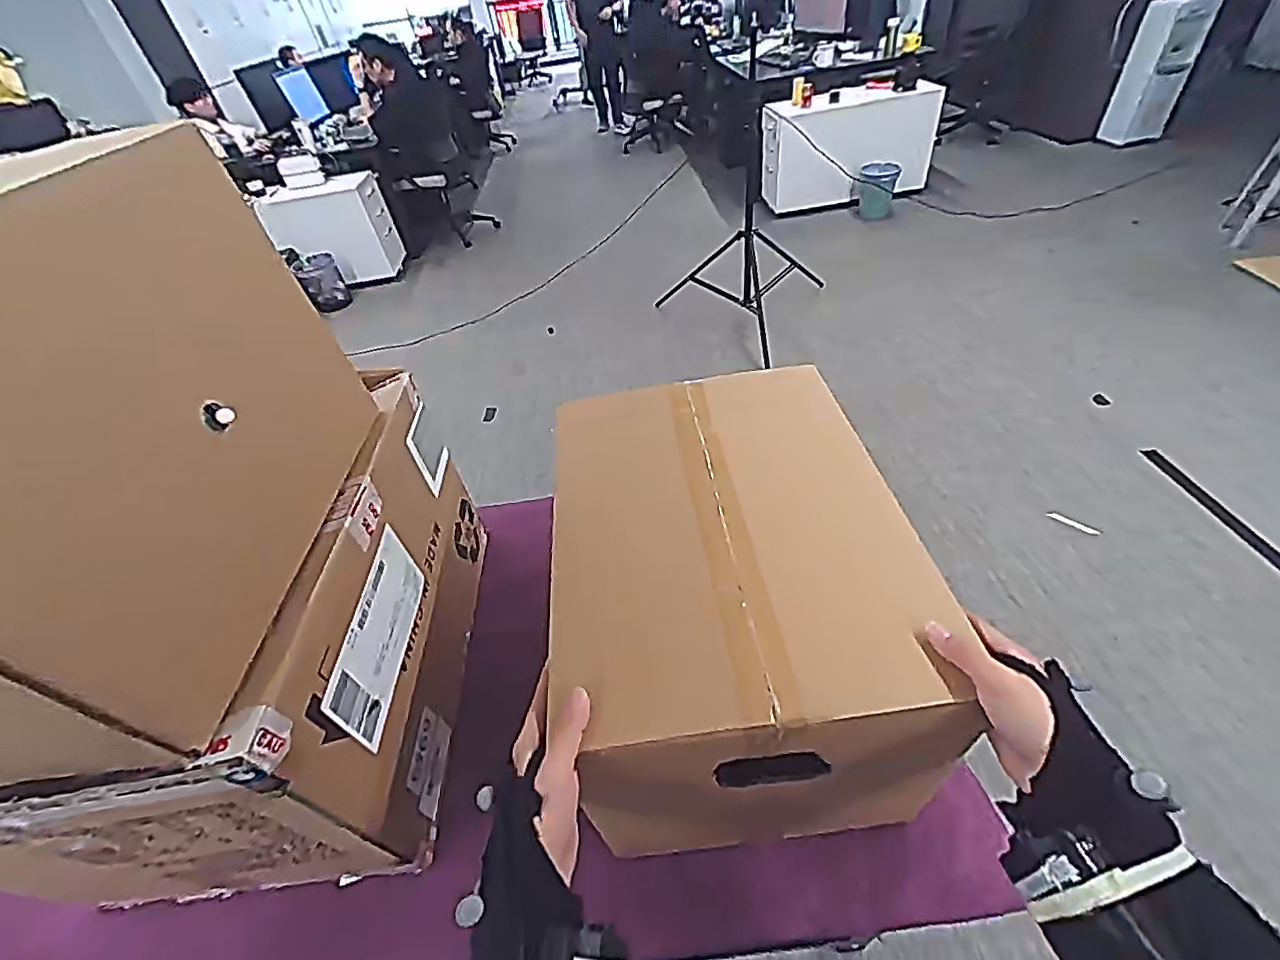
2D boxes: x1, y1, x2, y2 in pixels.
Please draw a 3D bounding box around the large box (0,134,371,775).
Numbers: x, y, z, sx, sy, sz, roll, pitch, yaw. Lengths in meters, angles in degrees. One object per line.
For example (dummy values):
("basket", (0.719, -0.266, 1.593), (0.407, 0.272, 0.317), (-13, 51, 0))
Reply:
("large box", (-0.484, -0.028, 0.435), (0.320, 0.320, 0.408), (-11, 44, 5))
